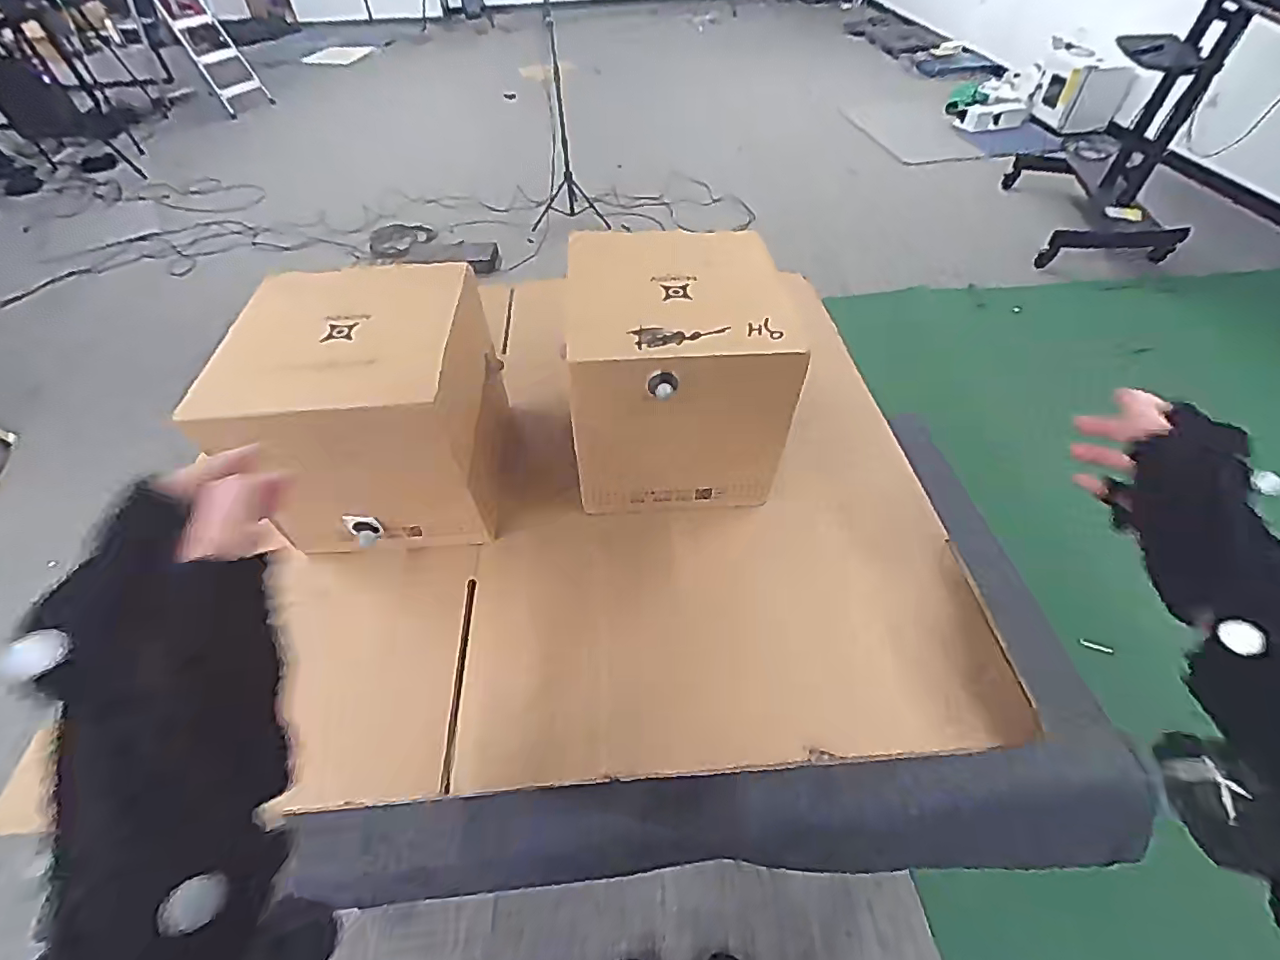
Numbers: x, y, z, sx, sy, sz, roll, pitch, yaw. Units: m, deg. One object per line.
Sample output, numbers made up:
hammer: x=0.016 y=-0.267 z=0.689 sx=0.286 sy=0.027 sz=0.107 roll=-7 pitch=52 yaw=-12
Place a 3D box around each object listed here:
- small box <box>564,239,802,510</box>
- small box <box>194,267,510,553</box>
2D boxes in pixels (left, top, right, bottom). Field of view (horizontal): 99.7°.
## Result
small box: x=0.026 y=-0.093 z=0.479 sx=0.168 sy=0.176 sz=0.179 roll=-3 pitch=49 yaw=-2
small box: x=-0.214 y=-0.058 z=0.466 sx=0.168 sy=0.176 sz=0.179 roll=-5 pitch=52 yaw=-1
